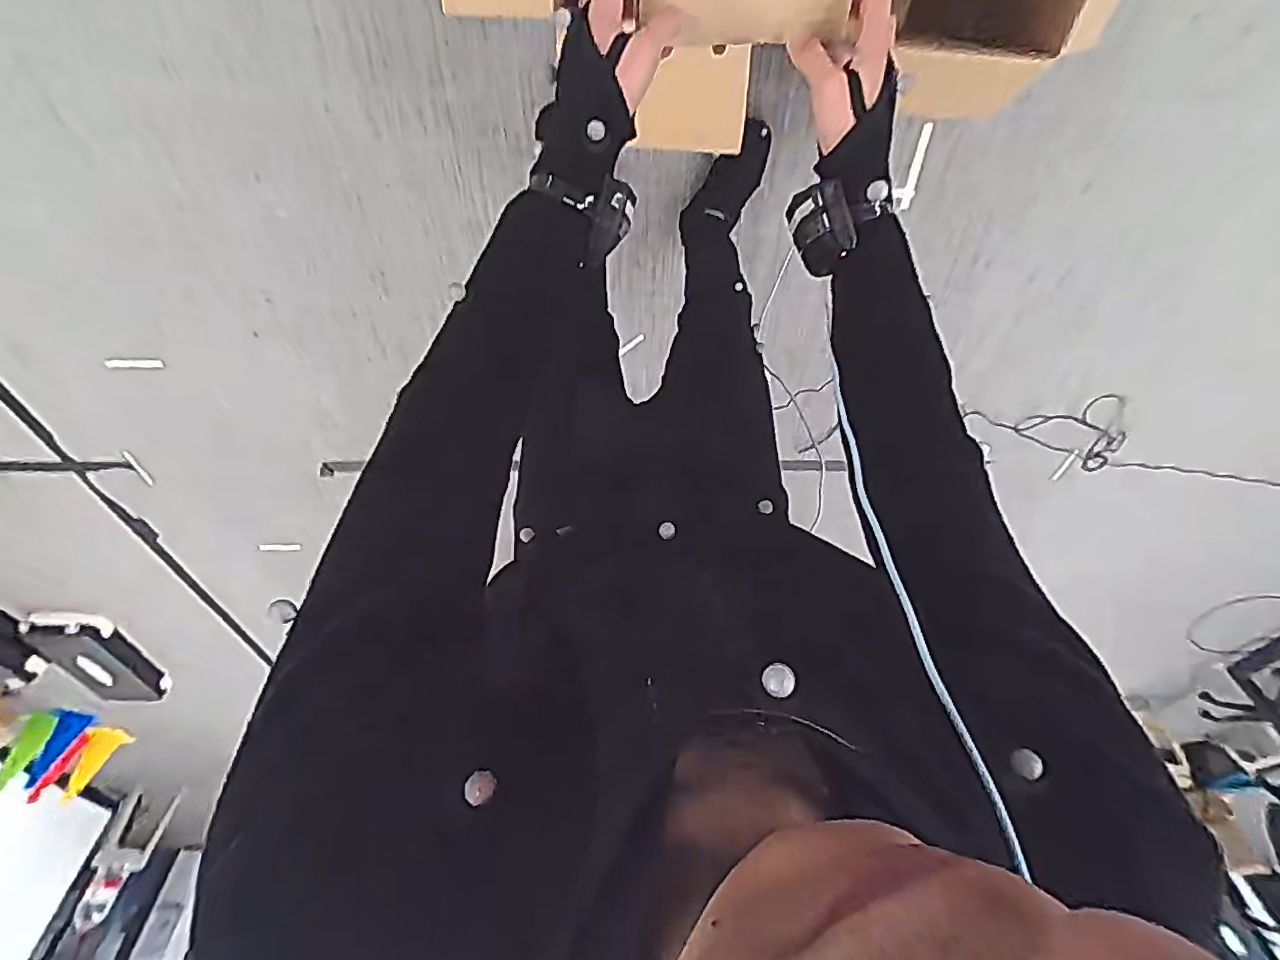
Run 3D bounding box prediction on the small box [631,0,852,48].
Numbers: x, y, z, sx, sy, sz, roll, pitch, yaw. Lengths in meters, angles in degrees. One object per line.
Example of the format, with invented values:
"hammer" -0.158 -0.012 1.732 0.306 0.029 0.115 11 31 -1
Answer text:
"small box" 0.083 -0.473 0.449 0.179 0.176 0.168 0 135 0
